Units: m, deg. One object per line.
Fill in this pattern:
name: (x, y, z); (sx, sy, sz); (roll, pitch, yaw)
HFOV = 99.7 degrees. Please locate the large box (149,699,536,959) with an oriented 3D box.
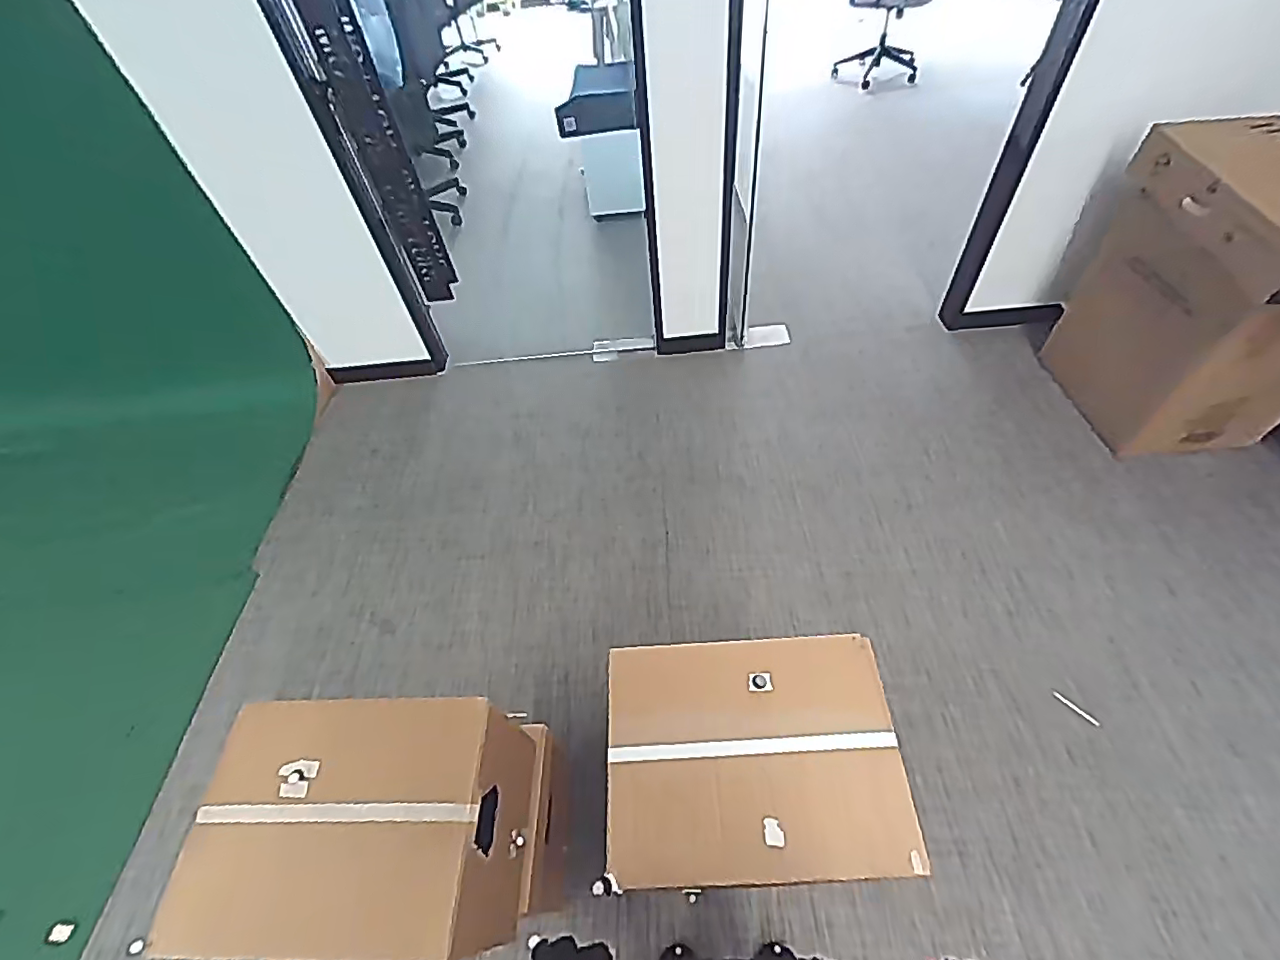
large box: (-0.411, 0.559, 0.875); (0.408, 0.320, 0.320); (-3, 53, 5)
